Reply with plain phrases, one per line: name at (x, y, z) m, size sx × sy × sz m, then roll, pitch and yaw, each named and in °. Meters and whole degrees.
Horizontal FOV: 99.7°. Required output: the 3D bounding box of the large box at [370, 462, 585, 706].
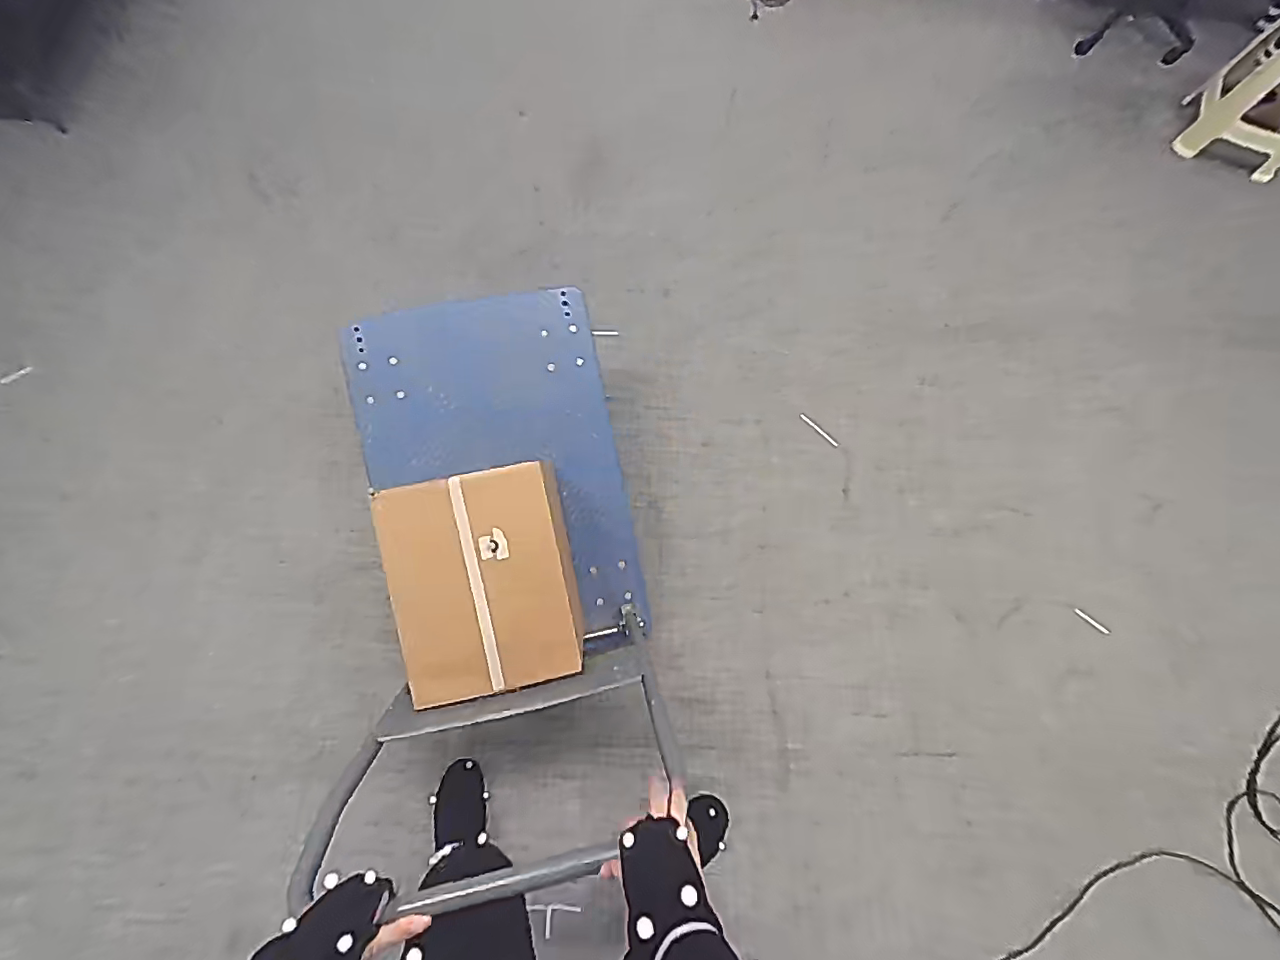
large box at (-0.310, 0.191, 1.143) m, size 0.320 × 0.320 × 0.408 m, roll -12°, pitch 91°, yaw -6°
